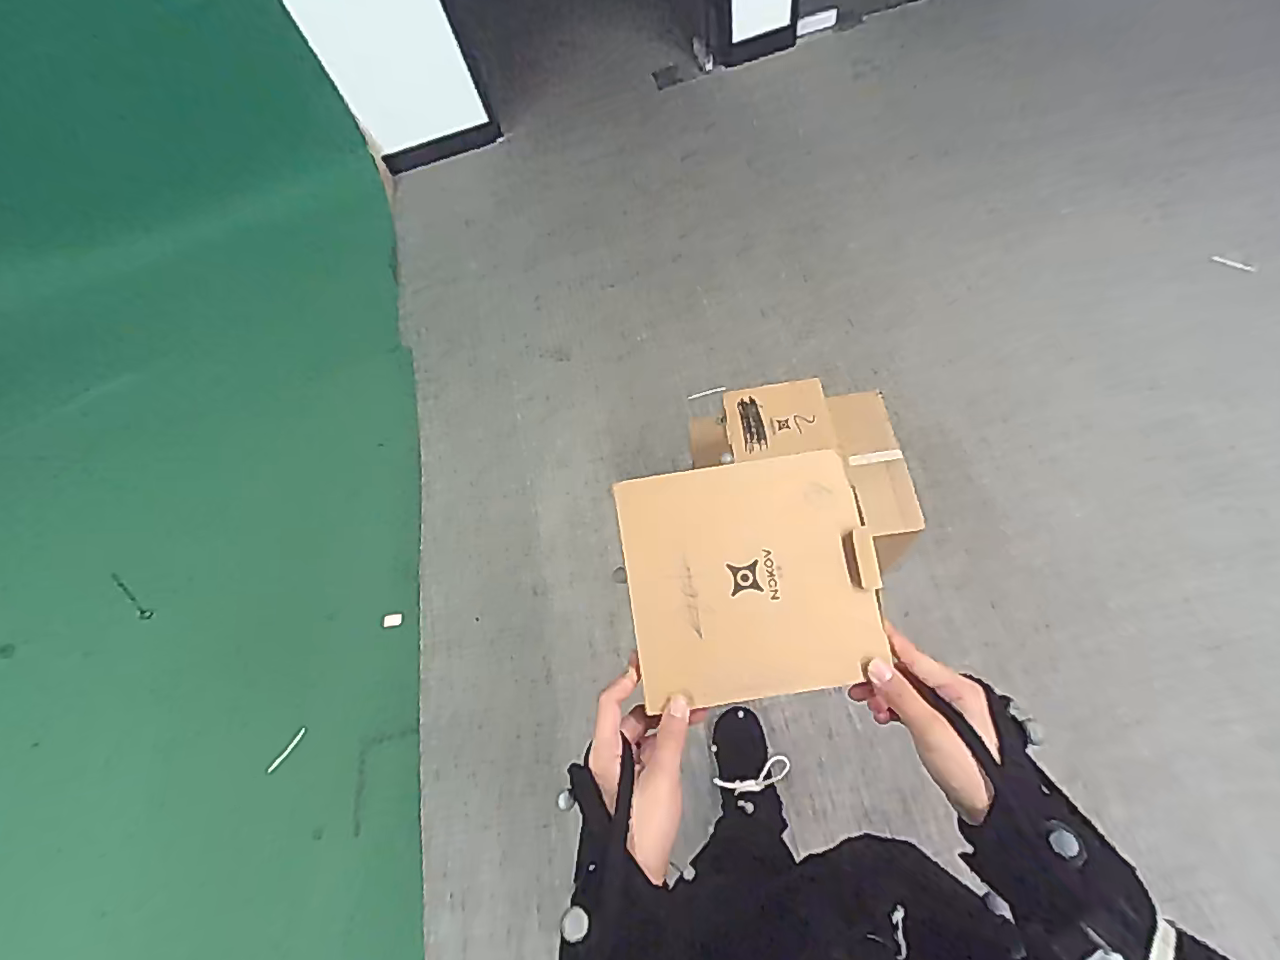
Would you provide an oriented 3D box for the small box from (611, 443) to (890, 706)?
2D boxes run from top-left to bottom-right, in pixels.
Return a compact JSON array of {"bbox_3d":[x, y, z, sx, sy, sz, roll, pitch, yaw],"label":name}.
[{"bbox_3d":[0.078,0.076,0.463,0.179,0.176,0.168,-10,80,2],"label":"small box"}]

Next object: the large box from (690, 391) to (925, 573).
[{"bbox_3d":[0.337,0.046,1.204,0.408,0.320,0.320,-9,65,6],"label":"large box"}]
